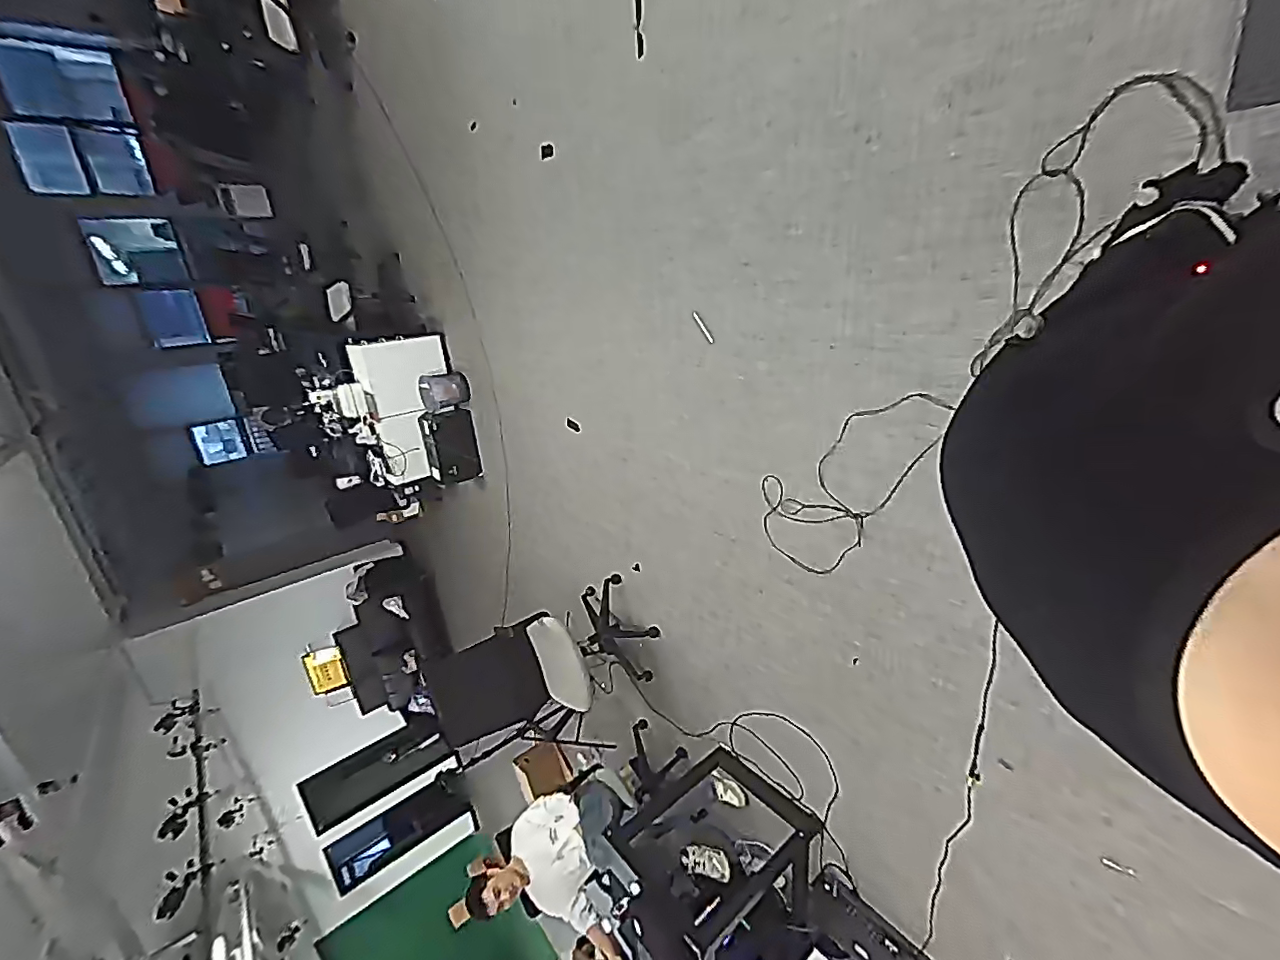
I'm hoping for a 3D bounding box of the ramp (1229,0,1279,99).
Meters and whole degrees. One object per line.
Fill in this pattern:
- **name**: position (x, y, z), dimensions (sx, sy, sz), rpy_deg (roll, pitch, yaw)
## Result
- **ramp**: position (1.055, -1.036, 0.535), dimensions (0.509, 0.206, 0.991), rpy_deg (15, 119, 48)
